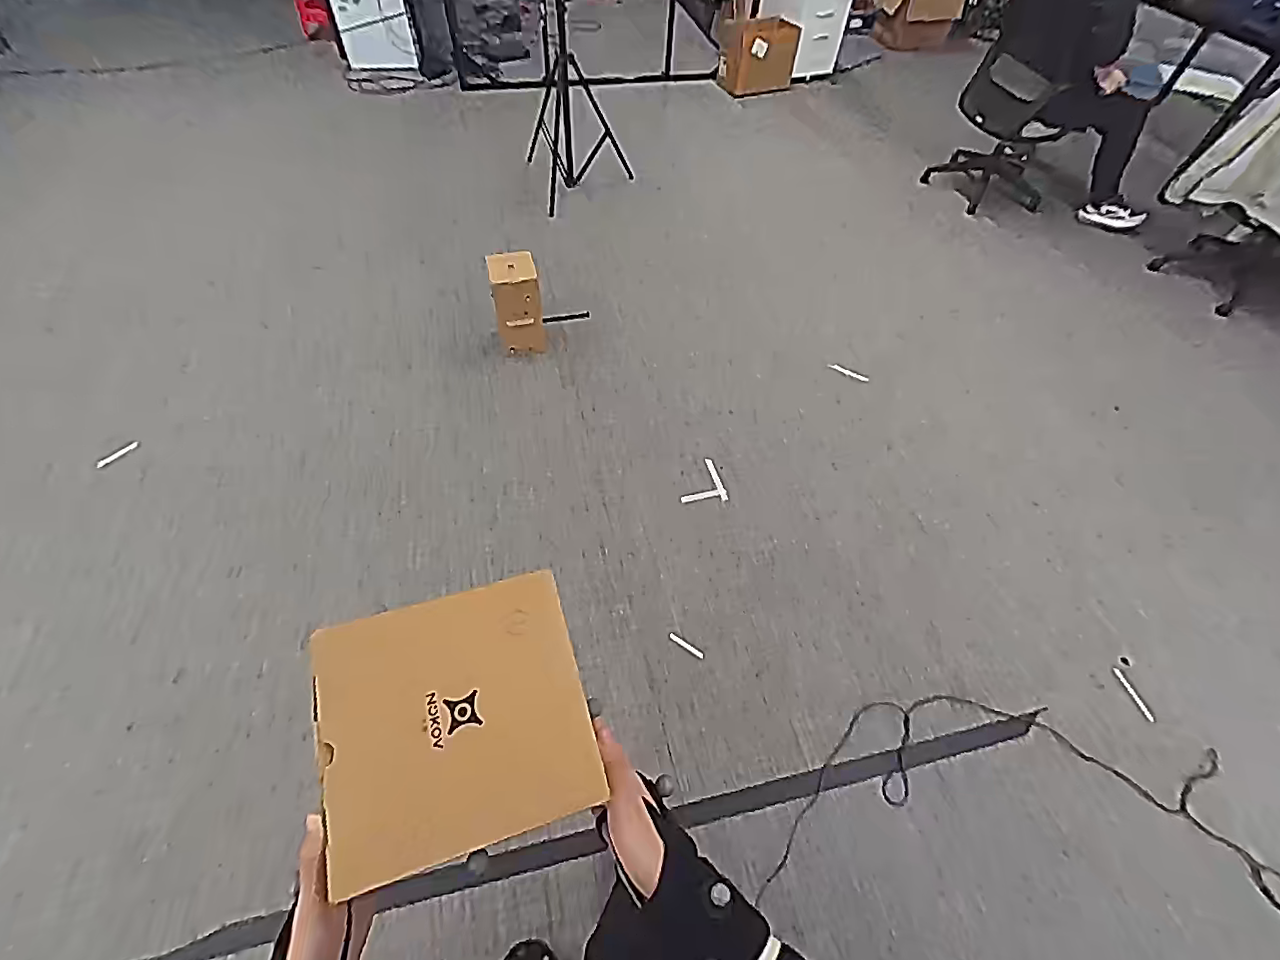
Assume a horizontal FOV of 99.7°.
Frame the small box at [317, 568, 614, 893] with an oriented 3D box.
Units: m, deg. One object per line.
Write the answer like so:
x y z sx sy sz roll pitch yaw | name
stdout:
-0.132 0.190 0.442 0.179 0.176 0.168 -14 67 -13 | small box

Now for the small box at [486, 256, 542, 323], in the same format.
-0.465 -0.698 2.001 0.168 0.176 0.179 -12 55 -12 | small box

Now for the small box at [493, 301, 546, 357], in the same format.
-0.473 -0.603 2.132 0.168 0.176 0.179 -12 55 -11 | small box
